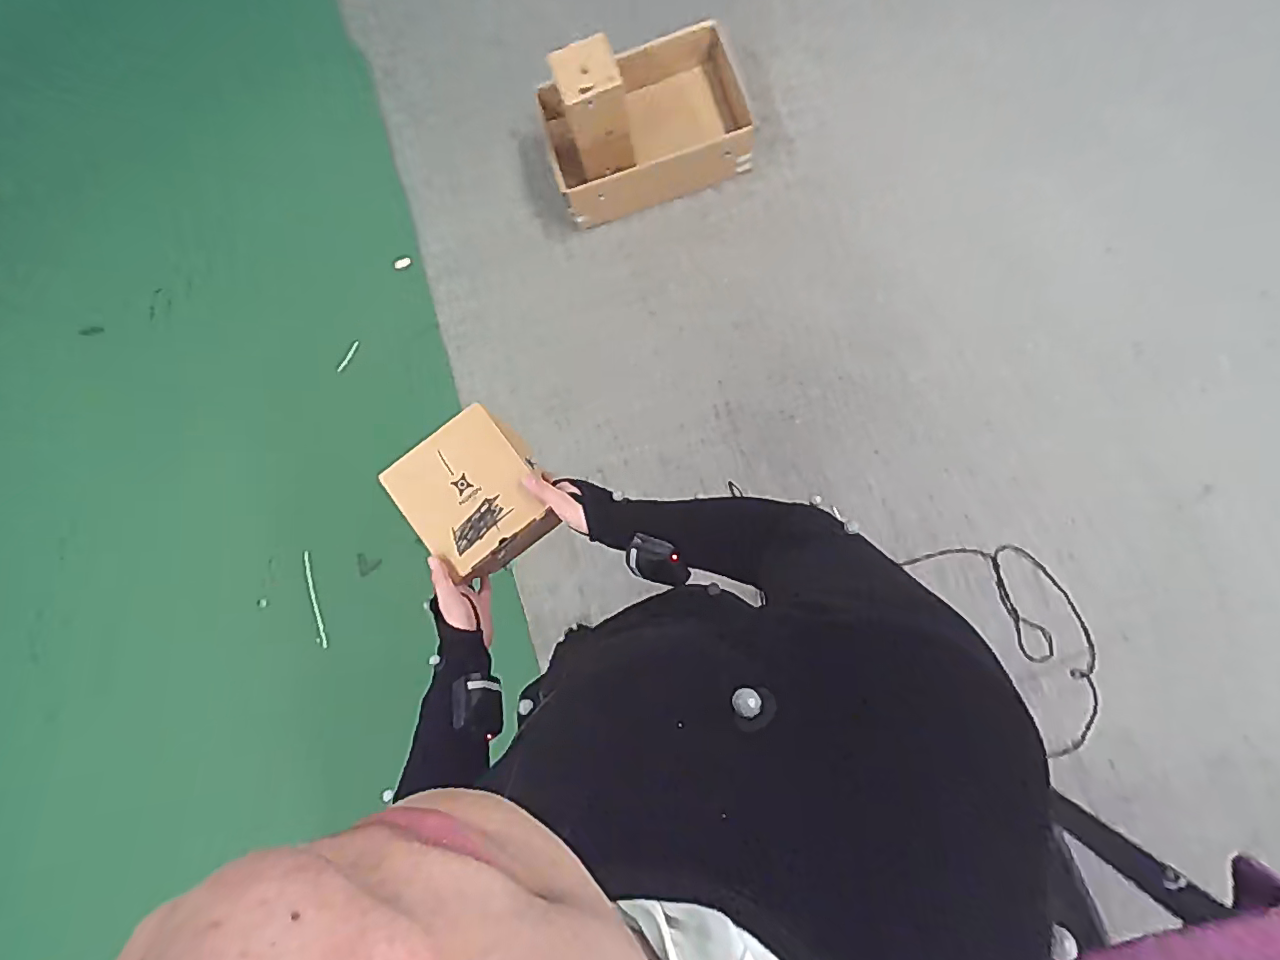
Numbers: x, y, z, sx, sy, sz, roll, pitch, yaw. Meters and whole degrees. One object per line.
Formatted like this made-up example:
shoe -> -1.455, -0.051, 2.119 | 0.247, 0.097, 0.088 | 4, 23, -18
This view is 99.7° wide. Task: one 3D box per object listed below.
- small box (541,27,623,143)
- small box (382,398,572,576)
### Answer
small box -> -0.160, -1.110, 1.532 | 0.168, 0.176, 0.179 | -21, 81, 4
small box -> -0.217, 0.013, 0.774 | 0.168, 0.176, 0.179 | -37, 84, -1
